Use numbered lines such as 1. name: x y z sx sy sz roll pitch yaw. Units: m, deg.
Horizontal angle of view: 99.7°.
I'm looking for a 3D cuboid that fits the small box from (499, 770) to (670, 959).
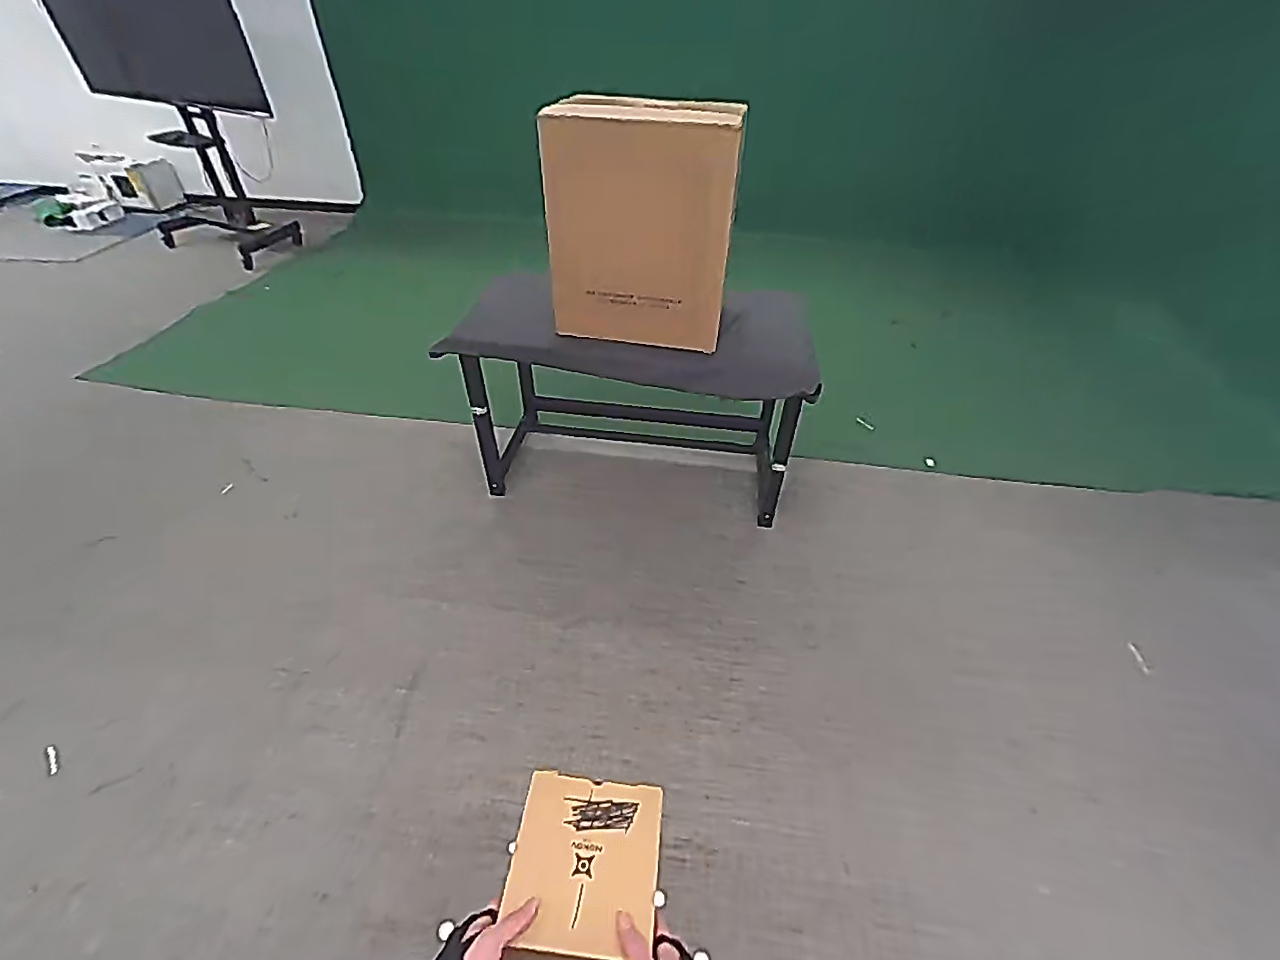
1. small box: -0.061 0.492 0.656 0.168 0.176 0.179 8 36 3
